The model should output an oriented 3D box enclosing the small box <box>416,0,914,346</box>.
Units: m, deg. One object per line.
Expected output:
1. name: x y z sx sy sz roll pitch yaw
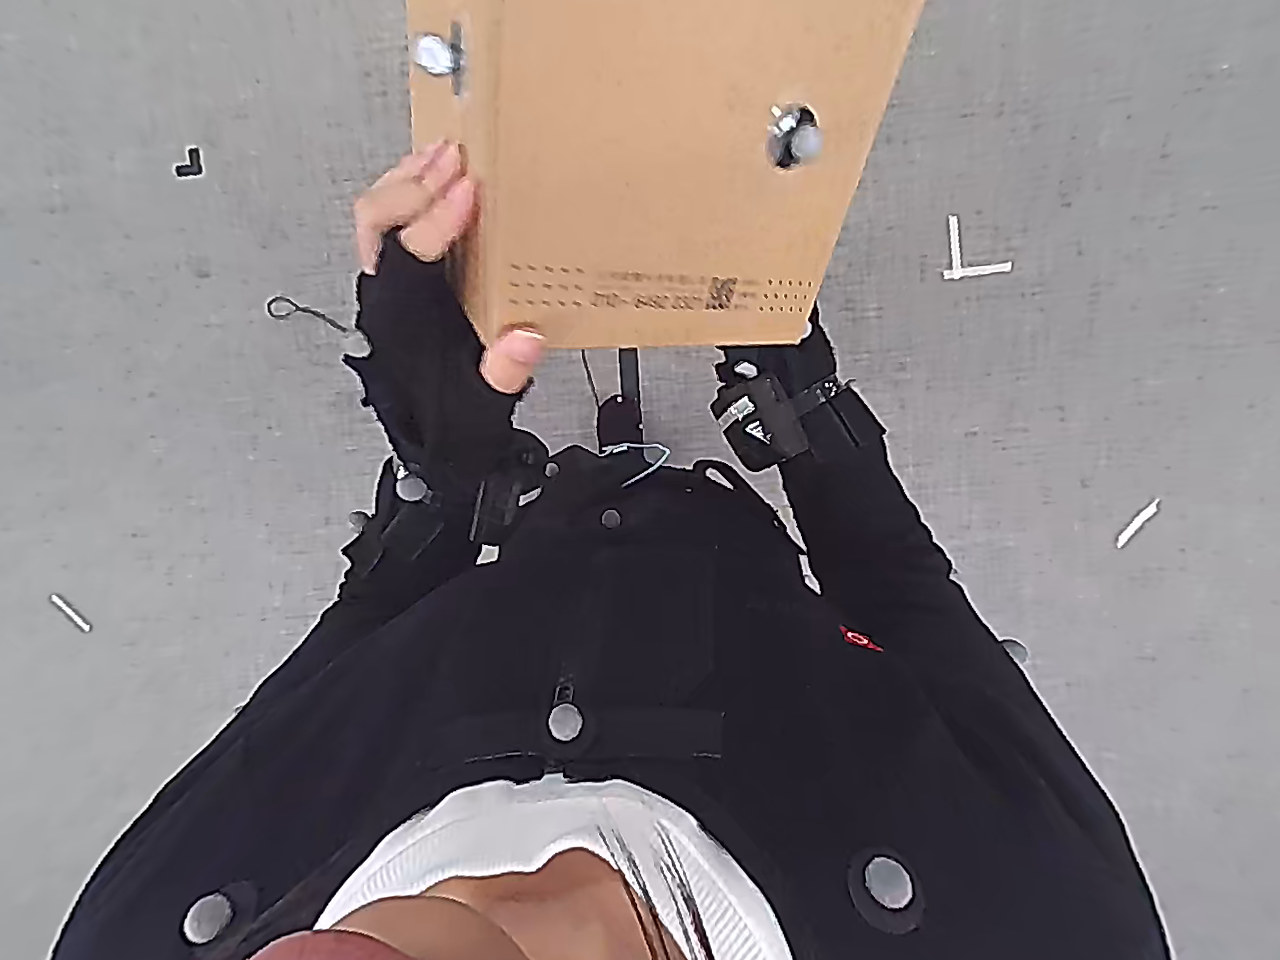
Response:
1. small box: -0.008 -0.175 0.267 0.168 0.179 0.176 -8 131 -29
